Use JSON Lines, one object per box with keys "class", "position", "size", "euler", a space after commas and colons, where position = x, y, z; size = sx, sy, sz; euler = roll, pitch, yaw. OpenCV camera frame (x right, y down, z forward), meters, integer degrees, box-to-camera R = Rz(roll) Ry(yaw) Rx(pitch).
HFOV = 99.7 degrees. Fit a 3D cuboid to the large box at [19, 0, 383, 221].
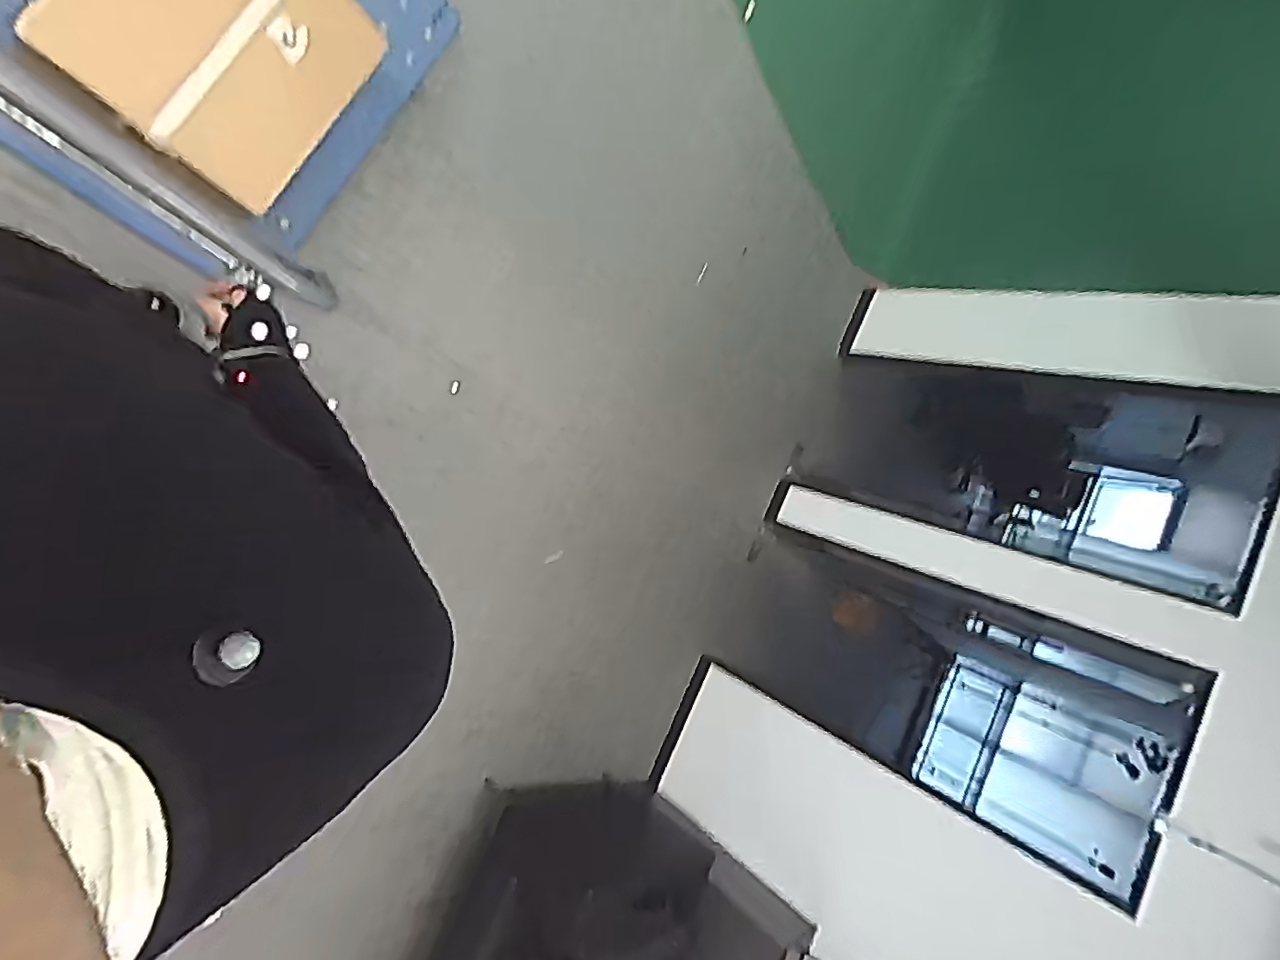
{"class": "large box", "position": [-0.743, -0.730, 0.941], "size": [0.320, 0.320, 0.408], "euler": [39, 75, -48]}
